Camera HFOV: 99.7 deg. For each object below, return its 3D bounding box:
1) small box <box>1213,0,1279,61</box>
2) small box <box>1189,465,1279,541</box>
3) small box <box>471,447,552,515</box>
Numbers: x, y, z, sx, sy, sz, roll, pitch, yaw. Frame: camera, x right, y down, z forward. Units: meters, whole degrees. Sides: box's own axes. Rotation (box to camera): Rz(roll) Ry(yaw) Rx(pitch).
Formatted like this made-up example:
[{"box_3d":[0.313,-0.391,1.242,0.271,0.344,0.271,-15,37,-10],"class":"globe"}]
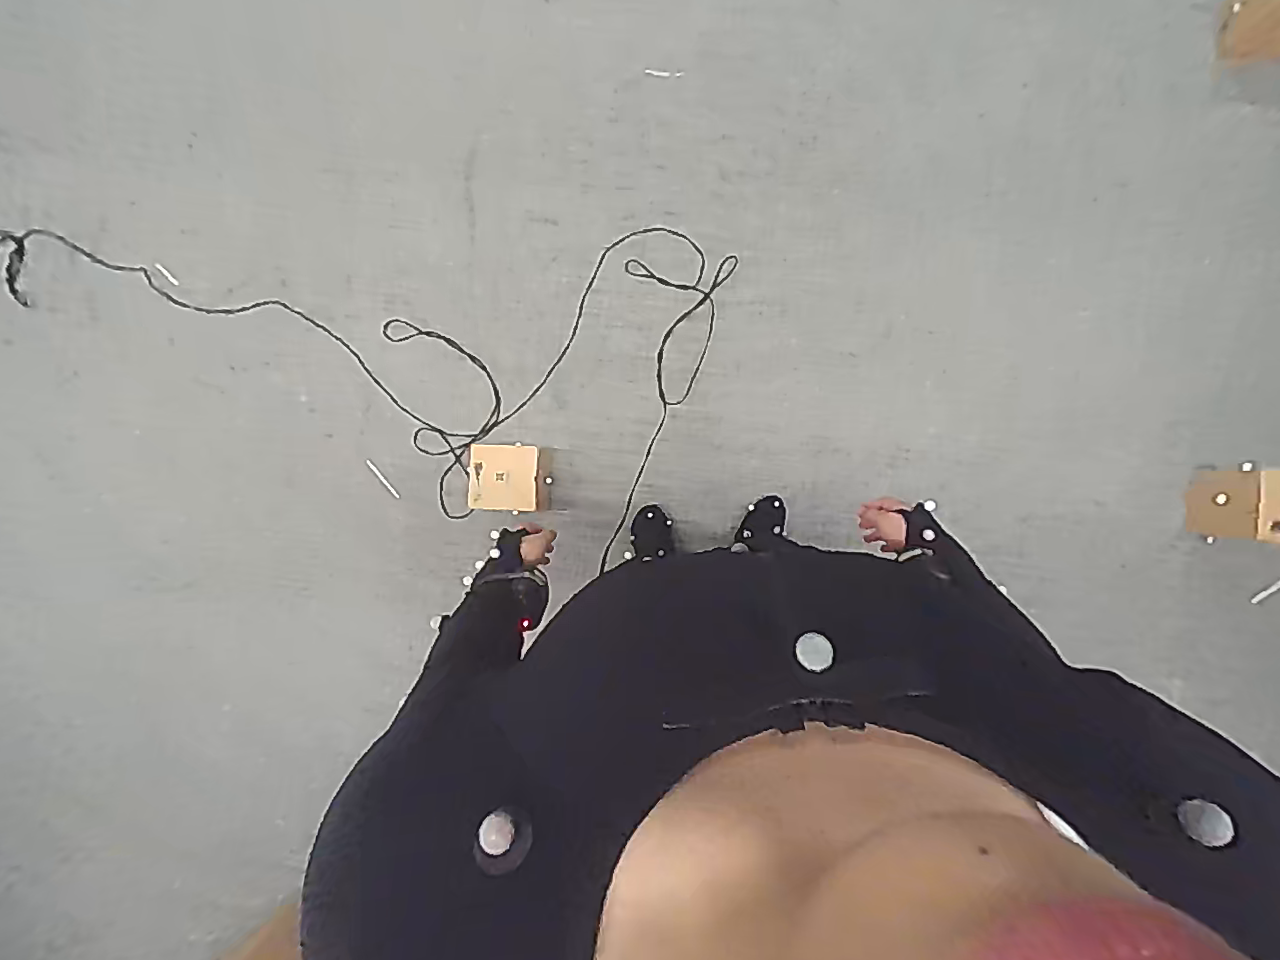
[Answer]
[{"box_3d":[1.633,-1.209,1.366,0.179,0.176,0.168,10,89,3],"class":"small box"},{"box_3d":[1.541,0.059,1.354,0.168,0.176,0.179,6,89,3],"class":"small box"},{"box_3d":[-0.333,0.002,1.433,0.179,0.176,0.168,2,89,2],"class":"small box"}]
